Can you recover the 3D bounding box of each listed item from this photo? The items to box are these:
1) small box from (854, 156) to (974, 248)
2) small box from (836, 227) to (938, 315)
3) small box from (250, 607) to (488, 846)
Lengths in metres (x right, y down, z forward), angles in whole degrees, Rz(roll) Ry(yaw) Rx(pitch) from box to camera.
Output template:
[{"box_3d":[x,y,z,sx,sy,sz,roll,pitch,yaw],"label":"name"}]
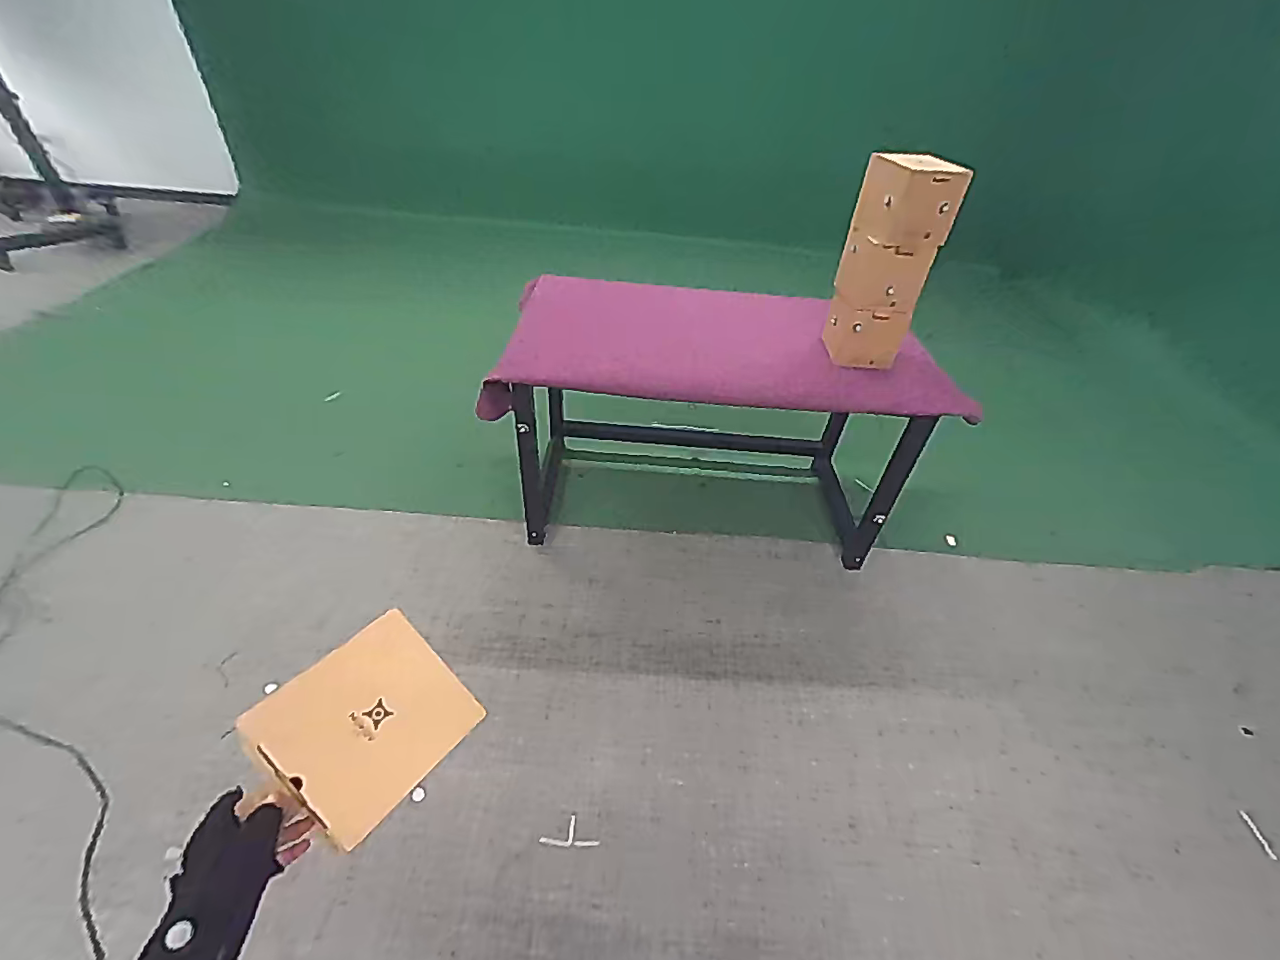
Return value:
[{"box_3d":[0.659,-0.678,1.323,0.168,0.176,0.179,-5,42,-12],"label":"small box"},{"box_3d":[0.641,-0.556,1.431,0.168,0.176,0.179,2,42,-3],"label":"small box"},{"box_3d":[-0.315,0.283,0.630,0.168,0.176,0.179,49,48,2],"label":"small box"}]
